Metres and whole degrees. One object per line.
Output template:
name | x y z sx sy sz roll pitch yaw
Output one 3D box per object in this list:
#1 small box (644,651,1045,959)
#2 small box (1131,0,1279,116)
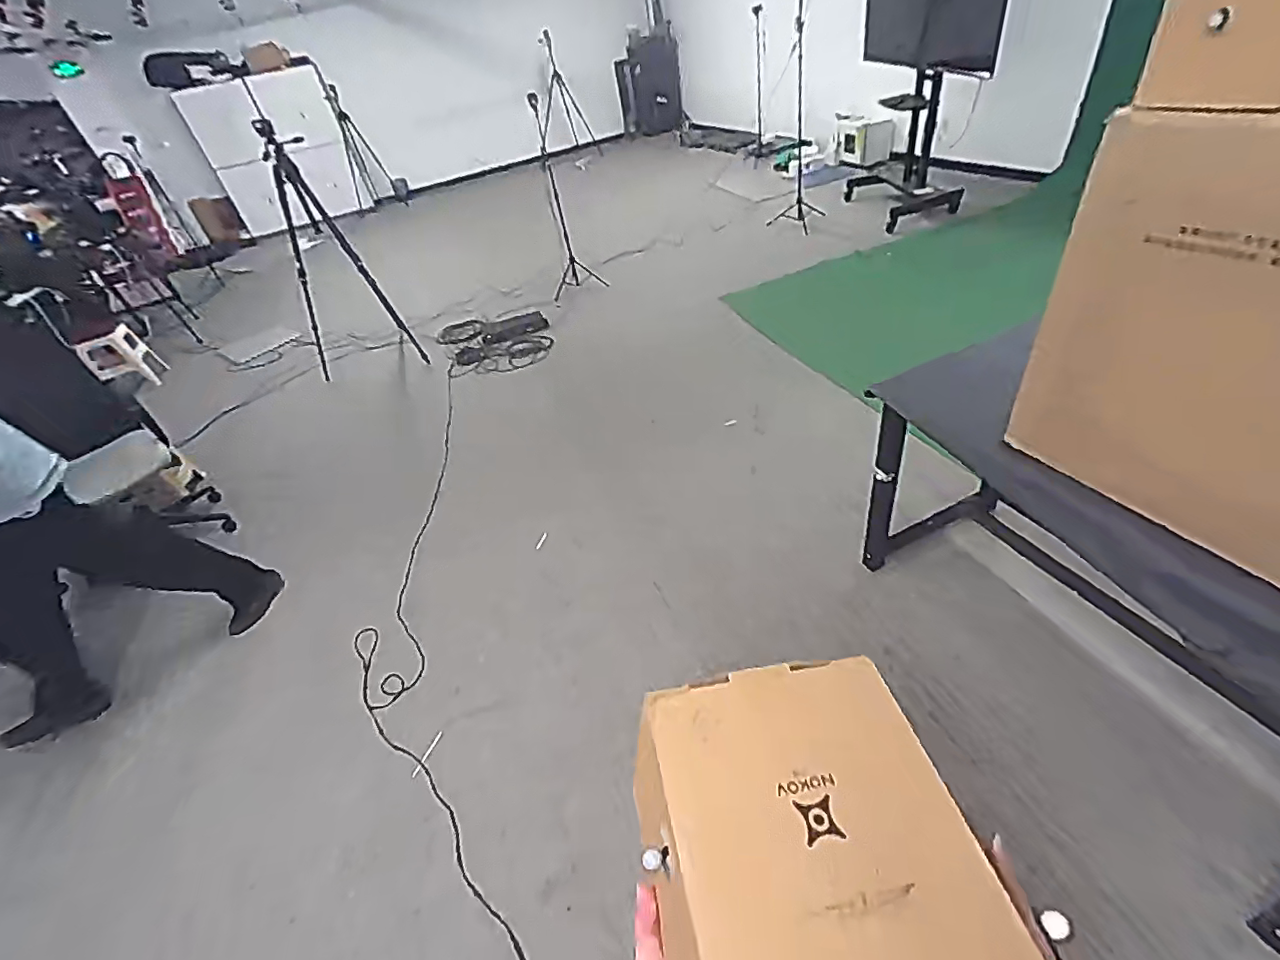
small box | 0.099 0.246 0.364 0.168 0.176 0.179 -6 42 -10
small box | 0.823 -0.602 0.723 0.168 0.176 0.179 -24 38 -12
